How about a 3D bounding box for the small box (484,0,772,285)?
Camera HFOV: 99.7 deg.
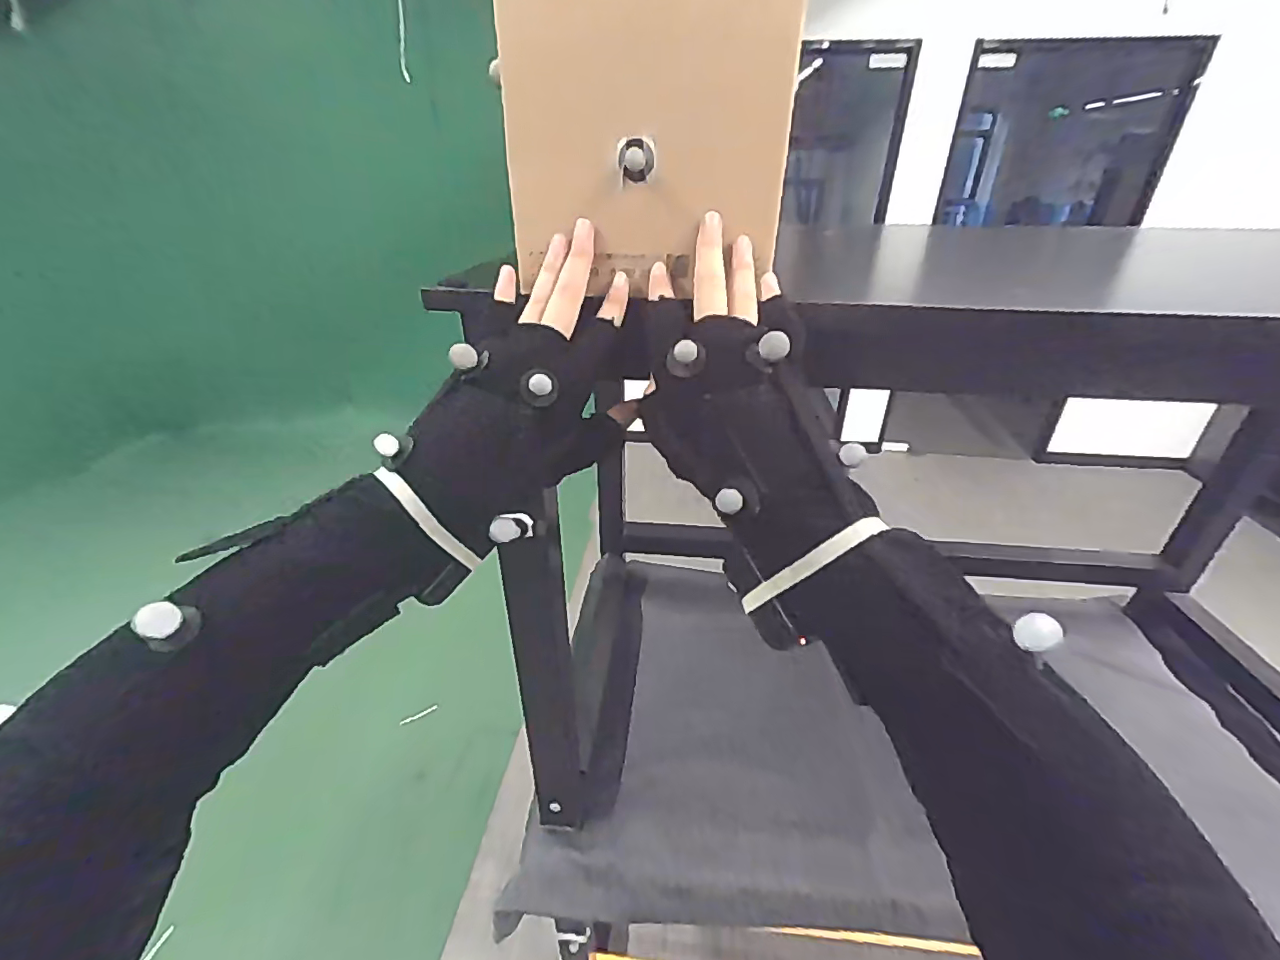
[{"bbox_3d":[-0.001,-0.247,0.405,0.168,0.176,0.179,3,29,2],"label":"small box"}]
